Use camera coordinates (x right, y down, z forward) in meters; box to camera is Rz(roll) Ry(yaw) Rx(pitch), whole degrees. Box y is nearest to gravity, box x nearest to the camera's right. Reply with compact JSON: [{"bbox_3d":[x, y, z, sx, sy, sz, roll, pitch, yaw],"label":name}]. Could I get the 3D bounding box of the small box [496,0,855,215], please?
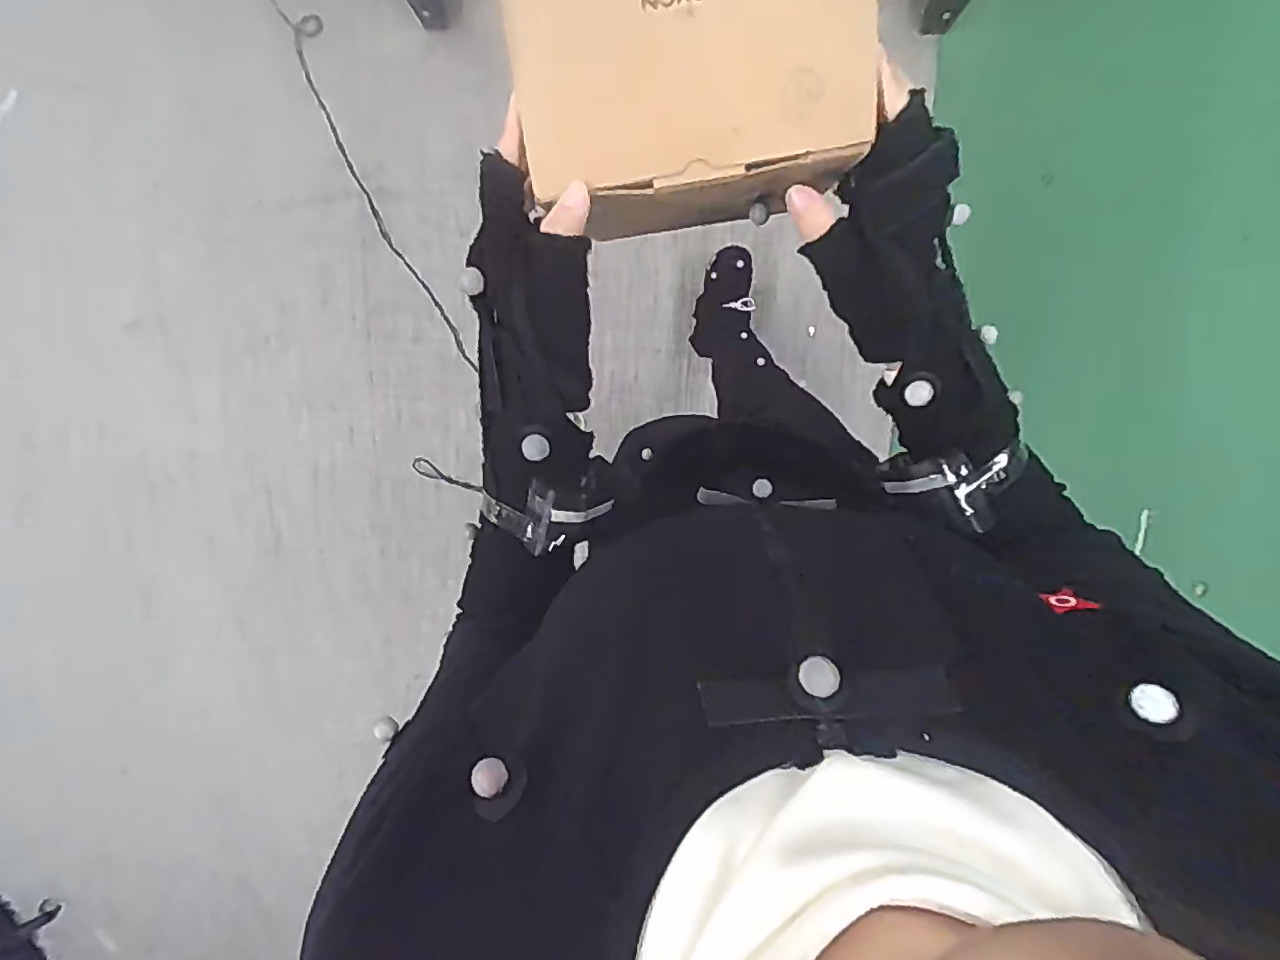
[{"bbox_3d":[0.020,-0.265,0.315,0.168,0.176,0.179,-5,106,7],"label":"small box"}]
